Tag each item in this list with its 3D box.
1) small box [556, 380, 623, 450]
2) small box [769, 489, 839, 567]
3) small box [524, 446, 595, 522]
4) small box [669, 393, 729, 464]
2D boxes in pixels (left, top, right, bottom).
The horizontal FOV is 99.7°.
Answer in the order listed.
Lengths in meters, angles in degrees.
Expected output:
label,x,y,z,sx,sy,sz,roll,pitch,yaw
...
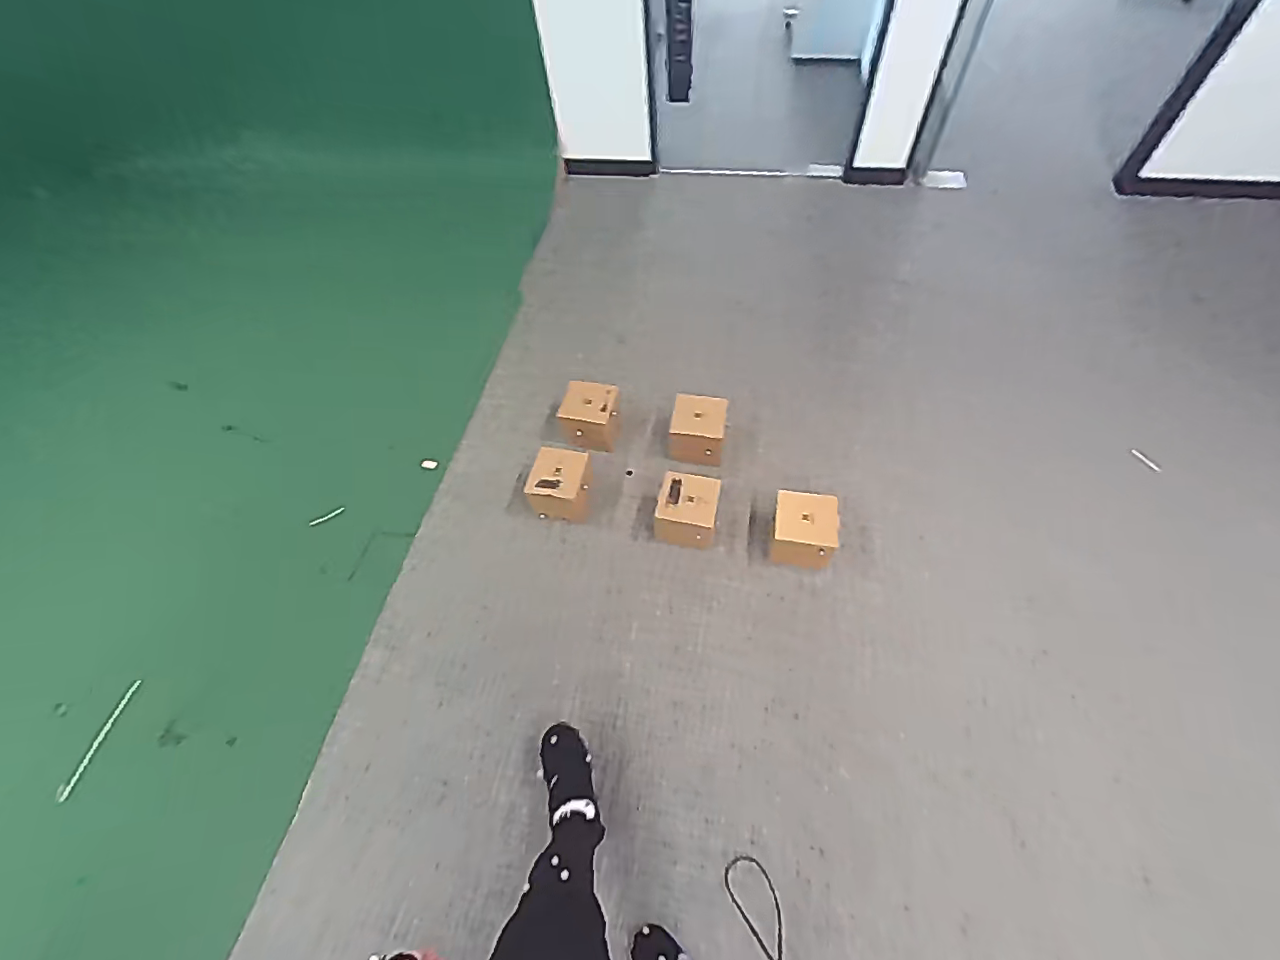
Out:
label,x,y,z,sx,sy,sz,roll,pitch,yaw
small box,-0.169,-0.224,1.885,0.179,0.176,0.168,10,60,11
small box,0.483,0.145,1.609,0.179,0.176,0.168,7,59,8
small box,-0.251,0.016,1.745,0.168,0.176,0.179,9,59,10
small box,0.199,-0.170,1.822,0.179,0.176,0.168,8,59,10
